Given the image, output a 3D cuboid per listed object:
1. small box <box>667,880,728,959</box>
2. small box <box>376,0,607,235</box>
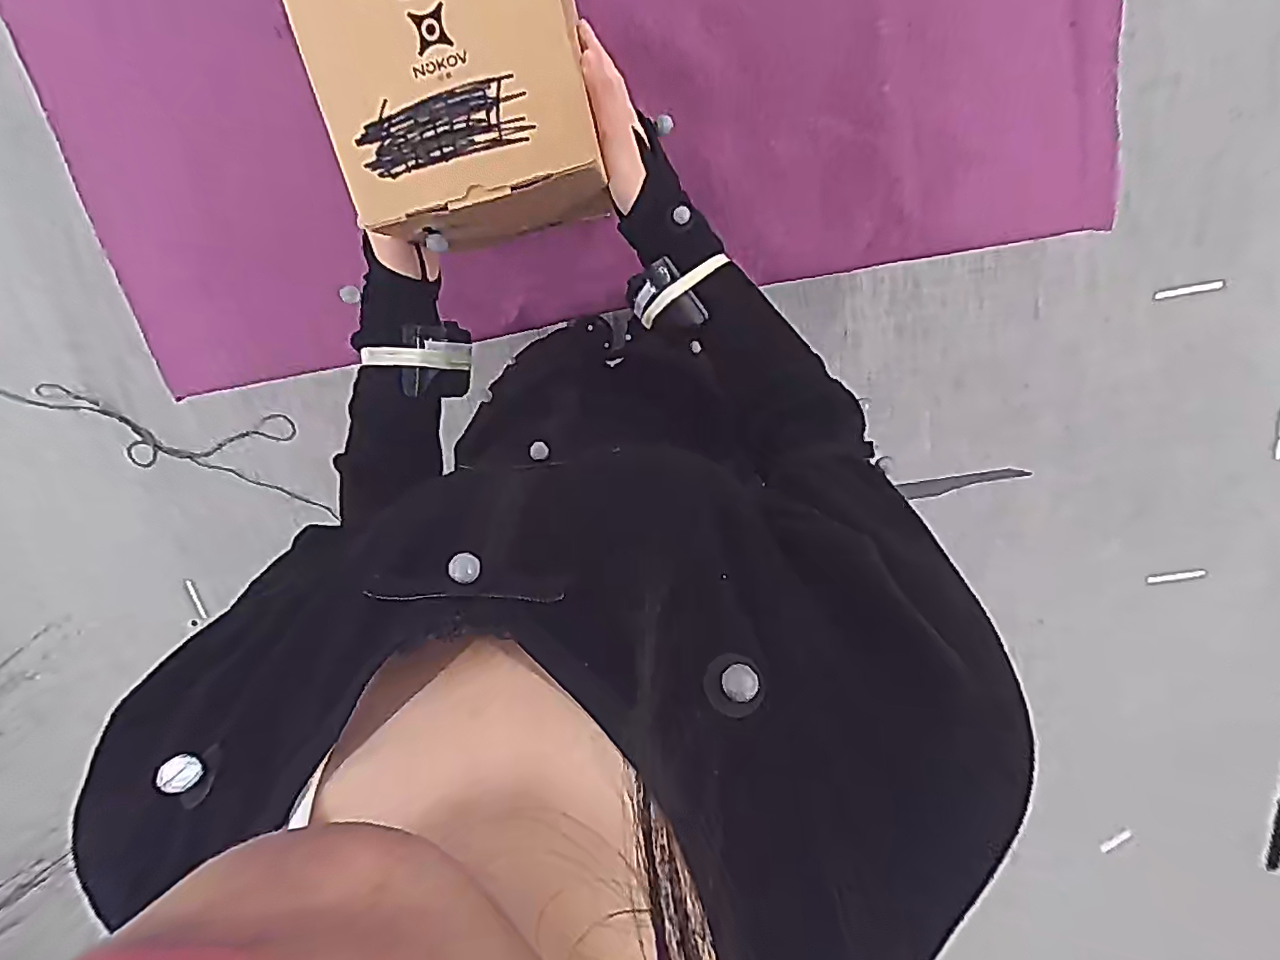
[{"bbox_3d":[0.198,1.555,1.891,0.168,0.176,0.179,-19,106,7],"label":"small box"},{"bbox_3d":[-0.133,-0.369,0.558,0.168,0.176,0.179,-7,107,5],"label":"small box"}]
